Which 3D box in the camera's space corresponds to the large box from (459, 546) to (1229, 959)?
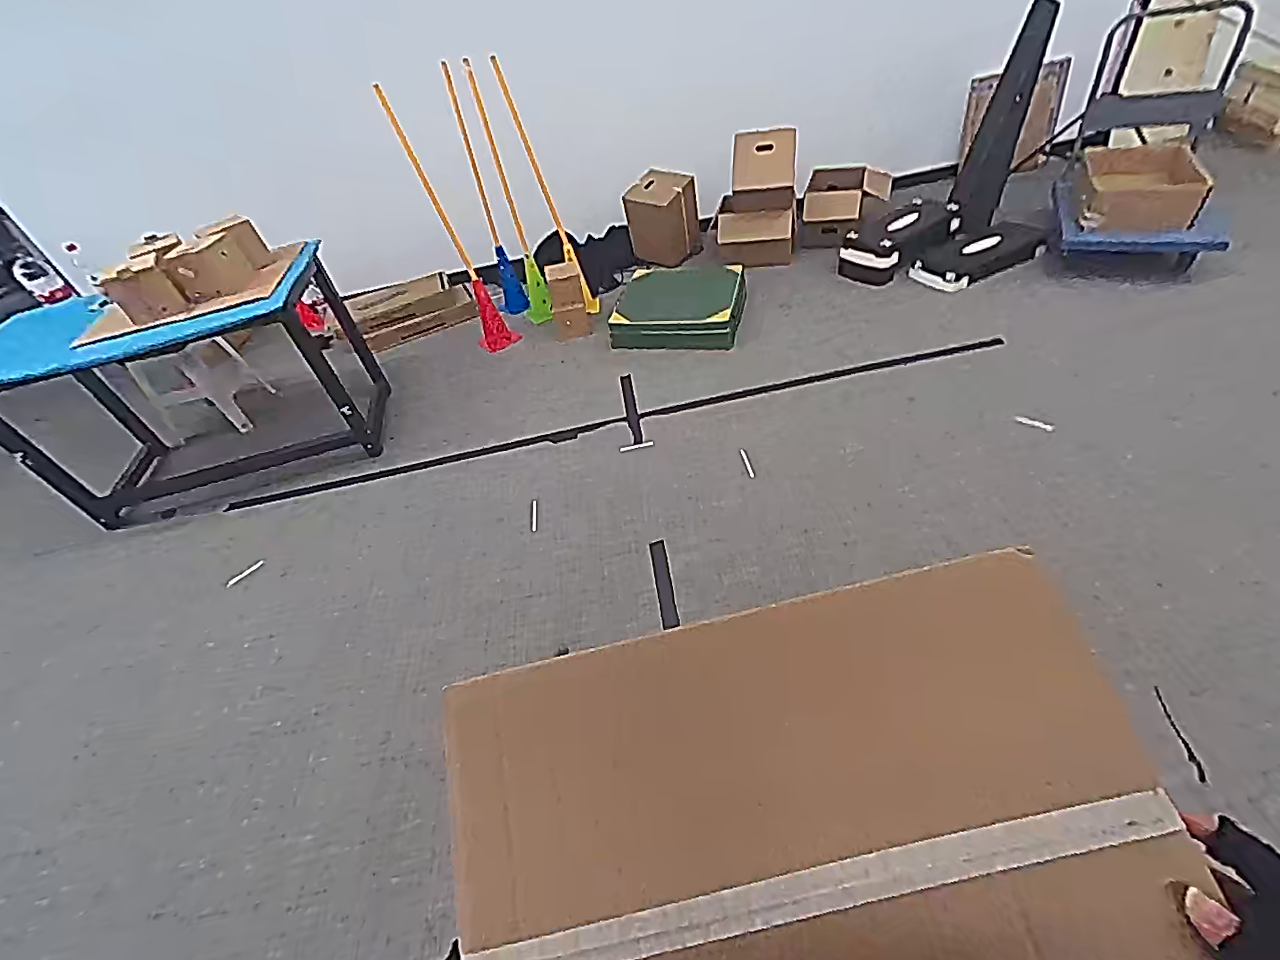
[{"bbox_3d":[0.114,0.289,0.452,0.408,0.320,0.320,-15,68,1],"label":"large box"}]
